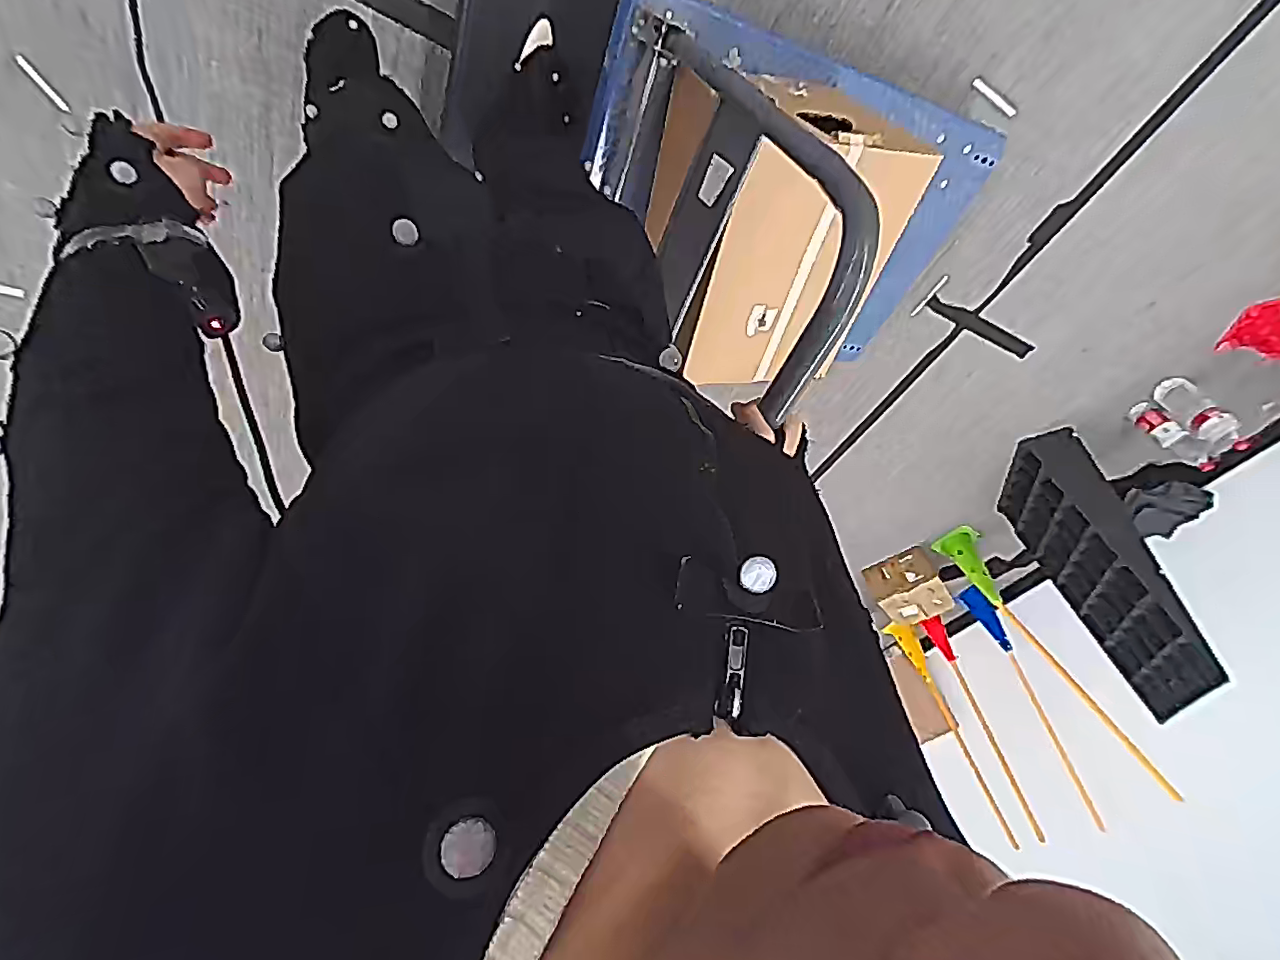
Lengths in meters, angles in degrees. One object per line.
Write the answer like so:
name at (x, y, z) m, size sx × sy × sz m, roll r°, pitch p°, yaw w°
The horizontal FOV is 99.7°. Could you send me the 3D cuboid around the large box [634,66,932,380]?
large box at (0.204, -0.438, 0.961) m, size 0.320 × 0.320 × 0.408 m, roll -6°, pitch 141°, yaw -19°
